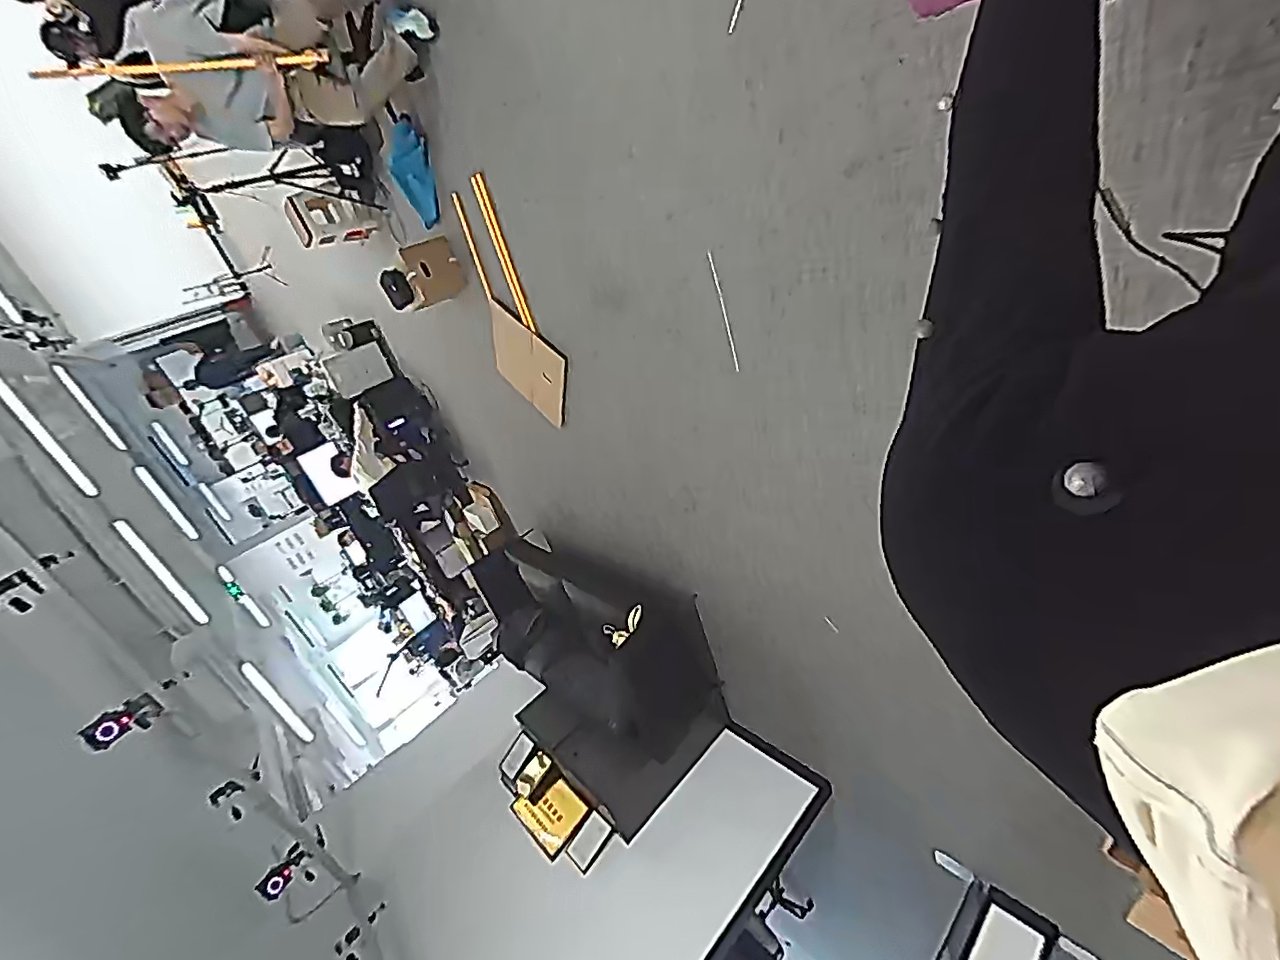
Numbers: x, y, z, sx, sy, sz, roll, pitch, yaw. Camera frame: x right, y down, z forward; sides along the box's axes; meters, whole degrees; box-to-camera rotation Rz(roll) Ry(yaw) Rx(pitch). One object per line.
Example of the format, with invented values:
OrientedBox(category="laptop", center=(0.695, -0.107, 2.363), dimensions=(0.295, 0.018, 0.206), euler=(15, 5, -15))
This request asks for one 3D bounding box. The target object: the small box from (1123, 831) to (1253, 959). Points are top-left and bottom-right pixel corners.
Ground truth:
OrientedBox(category="small box", center=(1.279, 0.974, 1.265), dimensions=(0.168, 0.176, 0.179), euler=(24, 140, 44))
